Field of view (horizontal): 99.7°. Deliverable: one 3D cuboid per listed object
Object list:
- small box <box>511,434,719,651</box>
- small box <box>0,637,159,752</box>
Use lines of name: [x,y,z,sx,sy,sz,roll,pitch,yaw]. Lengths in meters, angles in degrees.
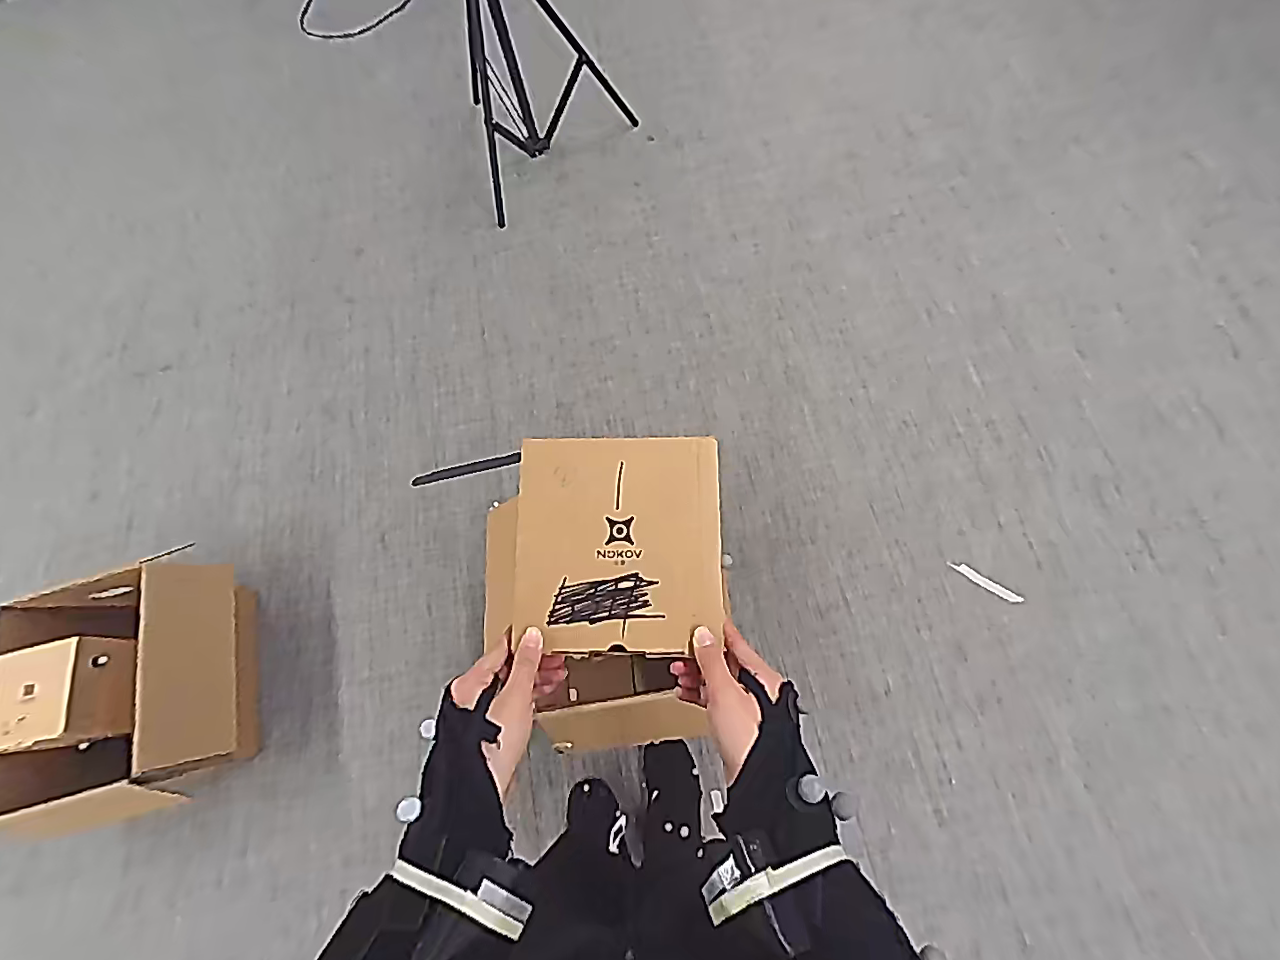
small box: [-0.015,0.065,0.513,0.168,0.176,0.179,0,76,2]
small box: [-1.097,0.419,1.058,0.168,0.176,0.179,-14,70,1]
